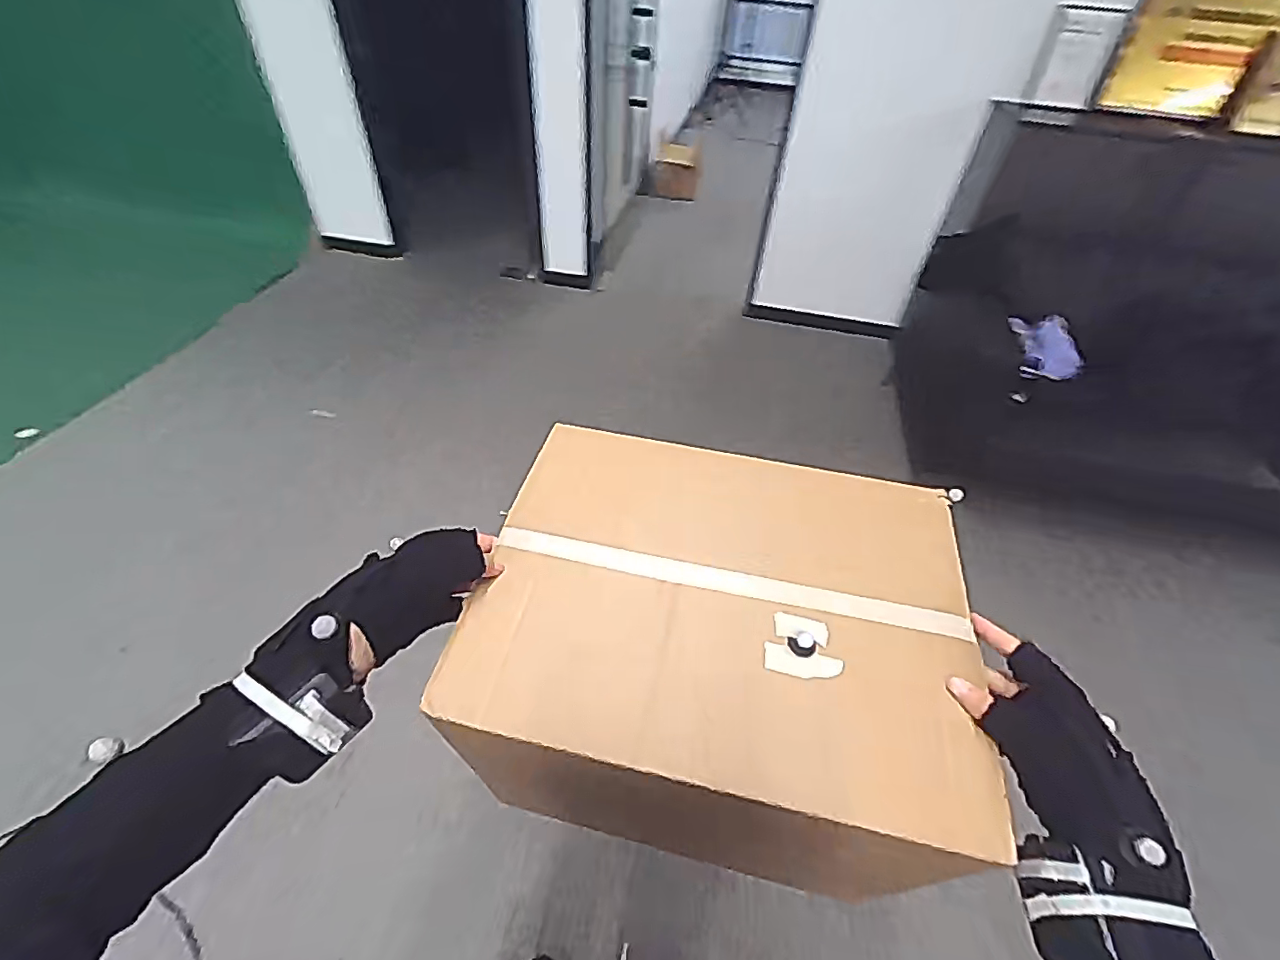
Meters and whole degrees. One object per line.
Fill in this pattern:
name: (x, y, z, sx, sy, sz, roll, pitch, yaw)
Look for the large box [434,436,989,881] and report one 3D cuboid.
large box: (0.063, 0.189, 0.586, 0.408, 0.320, 0.320, 10, 50, 7)
